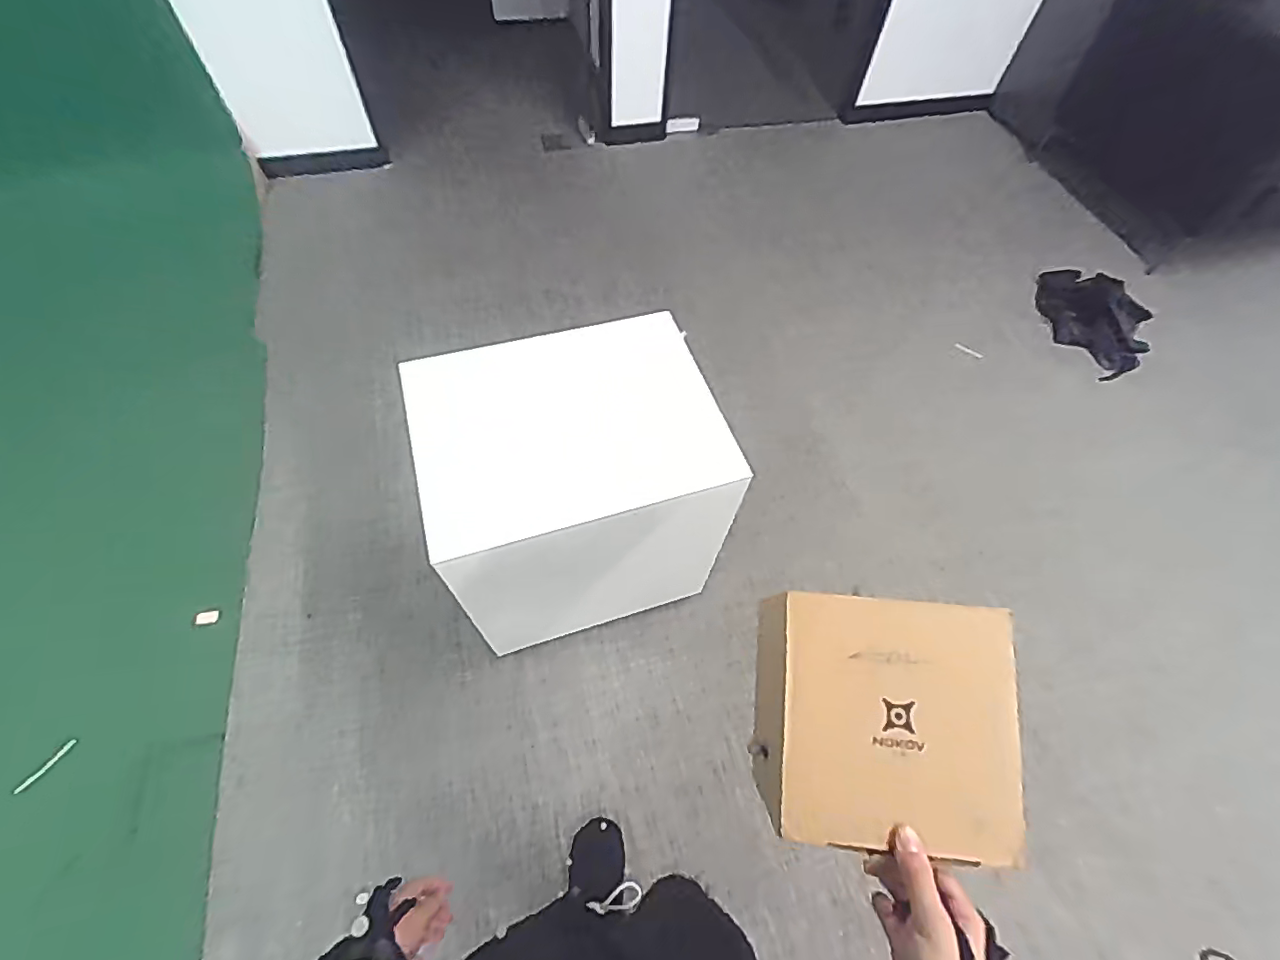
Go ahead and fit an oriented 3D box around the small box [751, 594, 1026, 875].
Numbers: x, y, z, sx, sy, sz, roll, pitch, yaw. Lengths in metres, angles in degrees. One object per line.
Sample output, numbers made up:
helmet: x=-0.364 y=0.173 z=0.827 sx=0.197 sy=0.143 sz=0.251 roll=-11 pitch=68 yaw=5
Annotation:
small box: x=0.190 y=0.196 z=0.466 sx=0.168 sy=0.176 sz=0.179 roll=3 pitch=75 yaw=5
